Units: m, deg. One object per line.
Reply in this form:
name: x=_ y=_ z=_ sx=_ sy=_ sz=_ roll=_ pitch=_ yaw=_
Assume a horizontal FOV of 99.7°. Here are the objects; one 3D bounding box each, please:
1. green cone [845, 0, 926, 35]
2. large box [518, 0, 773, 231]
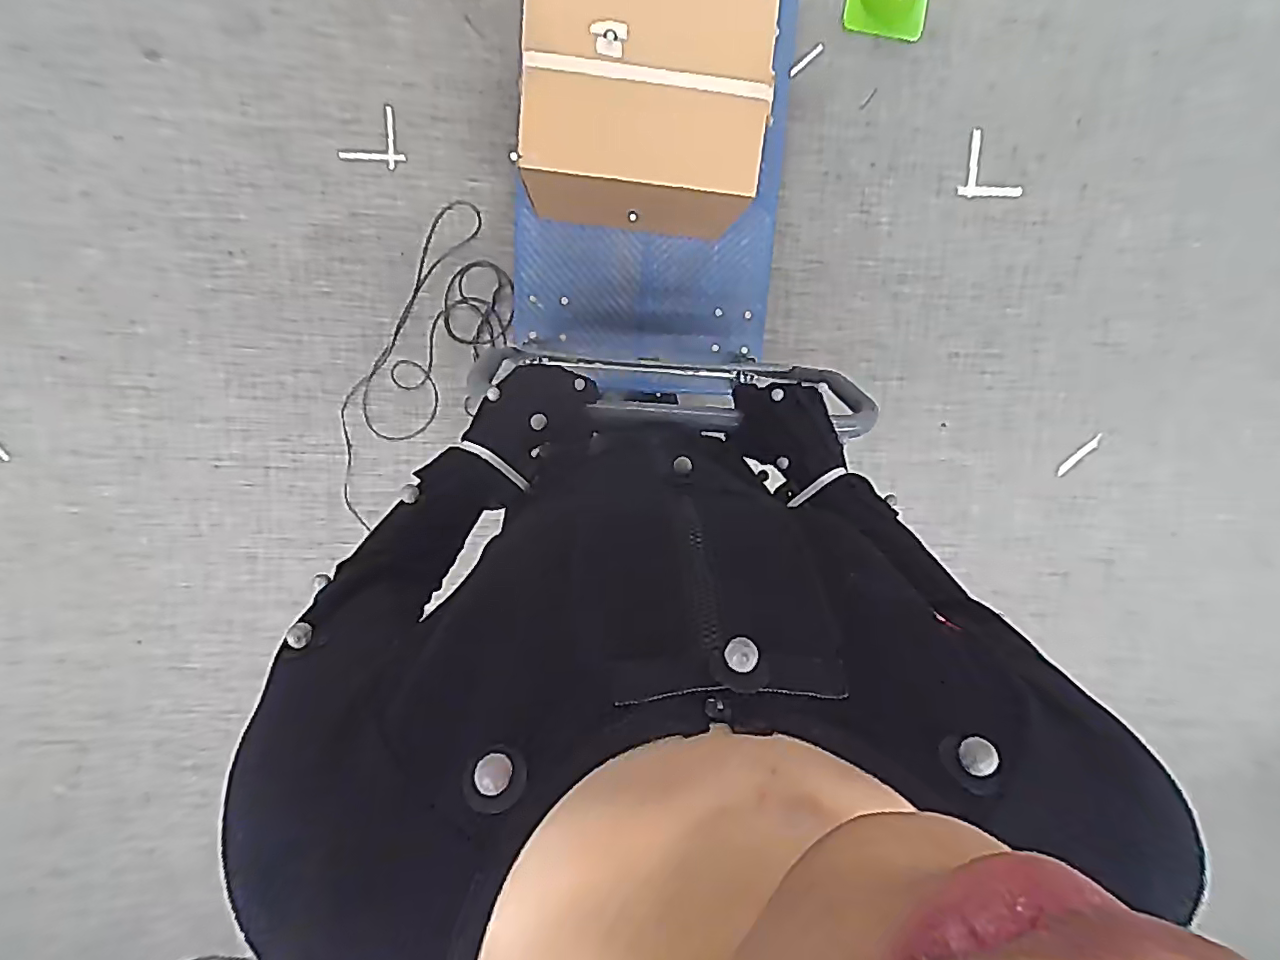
green cone: x=0.613 y=-1.158 z=1.127 sx=0.202 sy=0.368 sz=0.200 roll=5 pitch=101 yaw=-7
large box: x=0.000 y=-0.683 z=1.024 sx=0.408 sy=0.320 sz=0.320 roll=5 pitch=101 yaw=-4
